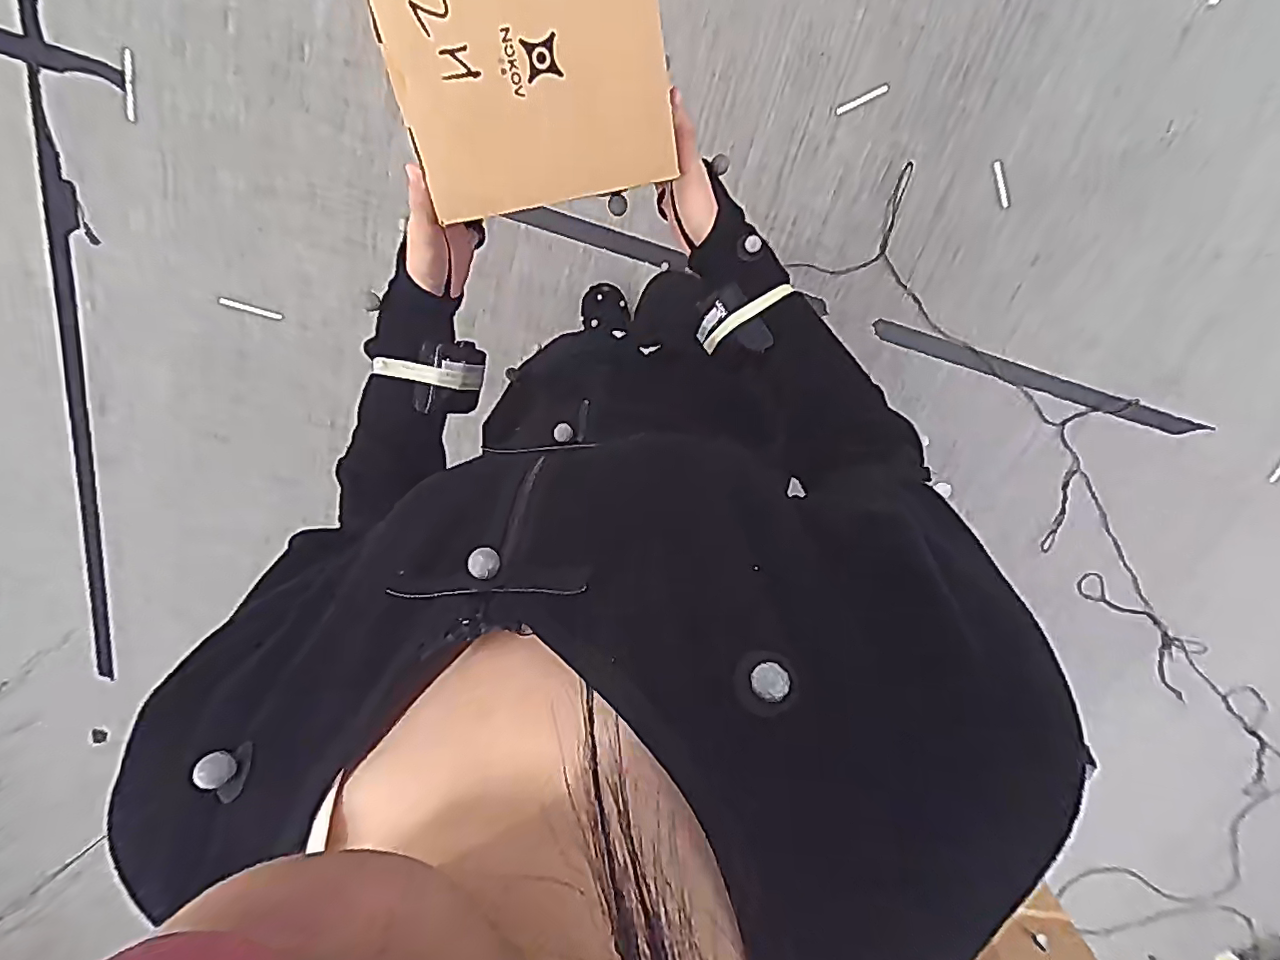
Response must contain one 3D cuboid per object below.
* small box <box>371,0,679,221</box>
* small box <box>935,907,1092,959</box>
[{"bbox_3d":[-0.077,-0.307,0.412,0.179,0.176,0.168,-11,119,0],"label":"small box"},{"bbox_3d":[0.602,0.807,0.840,0.179,0.176,0.168,10,112,-4],"label":"small box"}]
